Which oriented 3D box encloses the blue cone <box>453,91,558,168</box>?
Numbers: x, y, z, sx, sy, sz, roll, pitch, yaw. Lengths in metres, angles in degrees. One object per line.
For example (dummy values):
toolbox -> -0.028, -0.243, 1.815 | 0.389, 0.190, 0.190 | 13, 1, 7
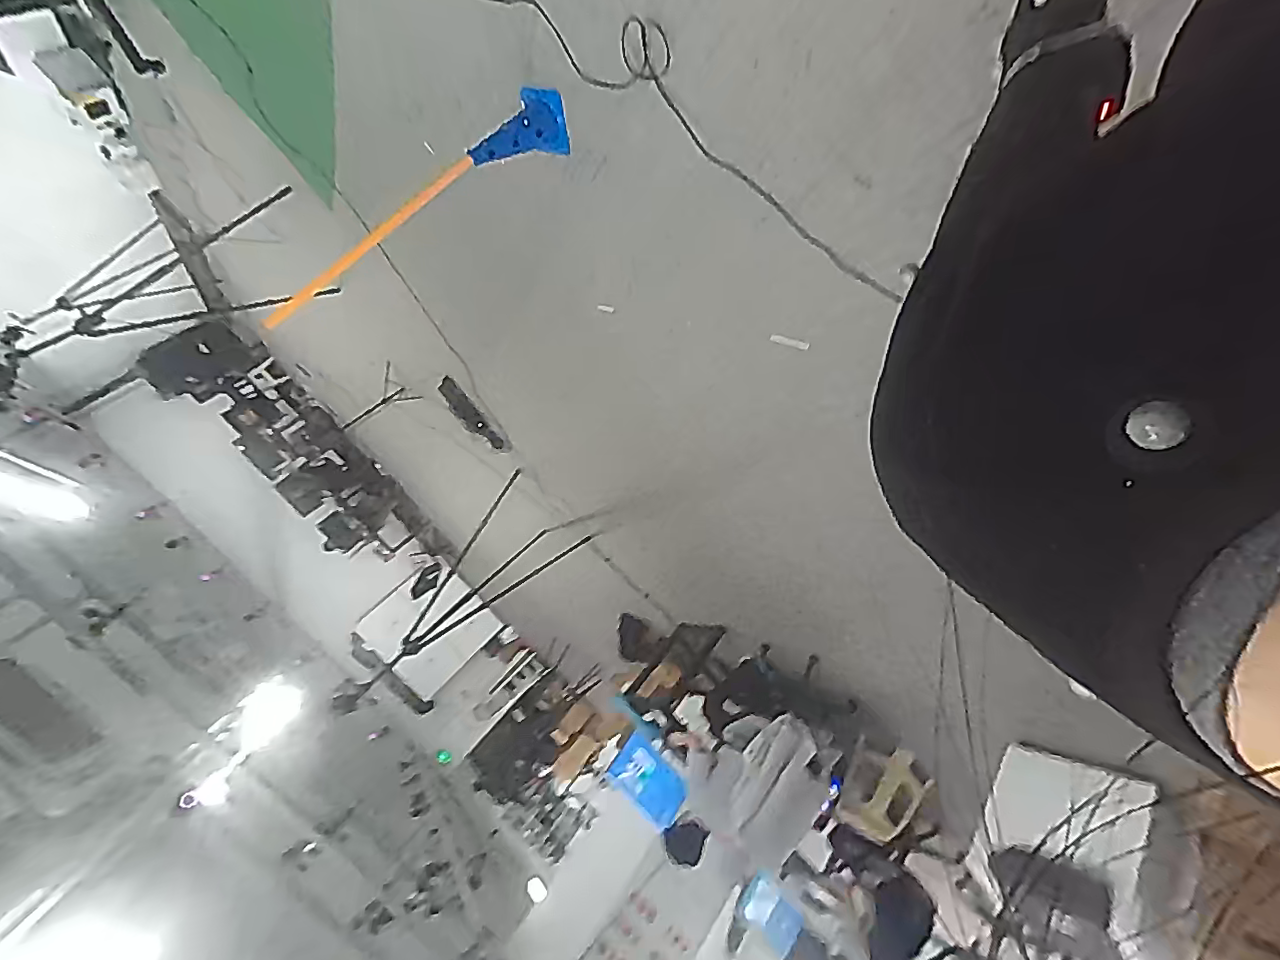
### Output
blue cone -> -0.467, -1.140, 1.815 | 0.192, 0.380, 0.193 | 26, 149, 28
